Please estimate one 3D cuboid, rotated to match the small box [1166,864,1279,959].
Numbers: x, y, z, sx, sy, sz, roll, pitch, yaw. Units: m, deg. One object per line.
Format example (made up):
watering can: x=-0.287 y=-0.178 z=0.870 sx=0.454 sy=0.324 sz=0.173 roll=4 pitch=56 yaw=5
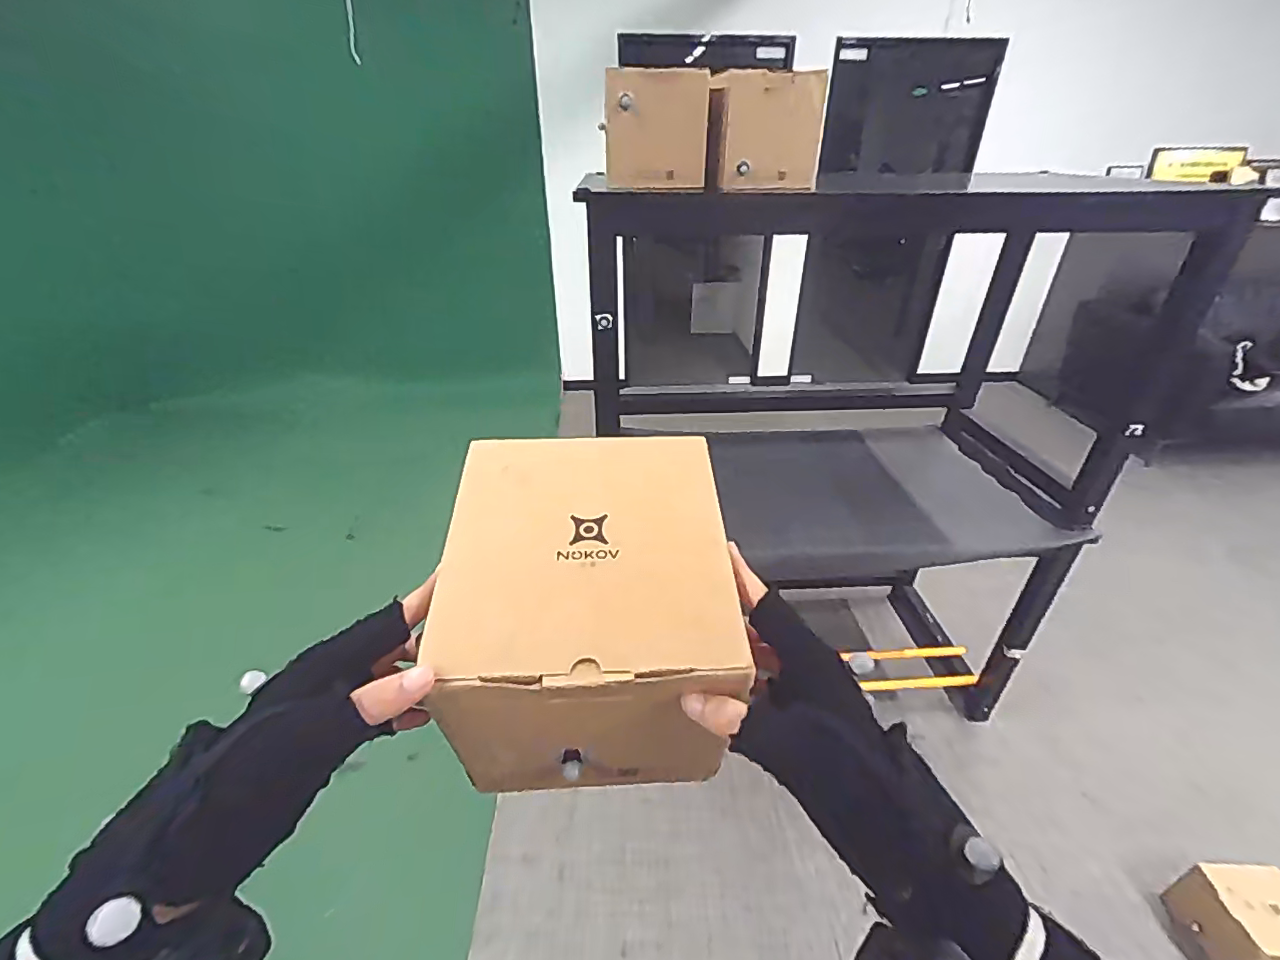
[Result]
small box: x=1.321 y=0.969 z=1.171 sx=0.179 sy=0.176 sz=0.168 roll=1 pitch=31 yaw=3
